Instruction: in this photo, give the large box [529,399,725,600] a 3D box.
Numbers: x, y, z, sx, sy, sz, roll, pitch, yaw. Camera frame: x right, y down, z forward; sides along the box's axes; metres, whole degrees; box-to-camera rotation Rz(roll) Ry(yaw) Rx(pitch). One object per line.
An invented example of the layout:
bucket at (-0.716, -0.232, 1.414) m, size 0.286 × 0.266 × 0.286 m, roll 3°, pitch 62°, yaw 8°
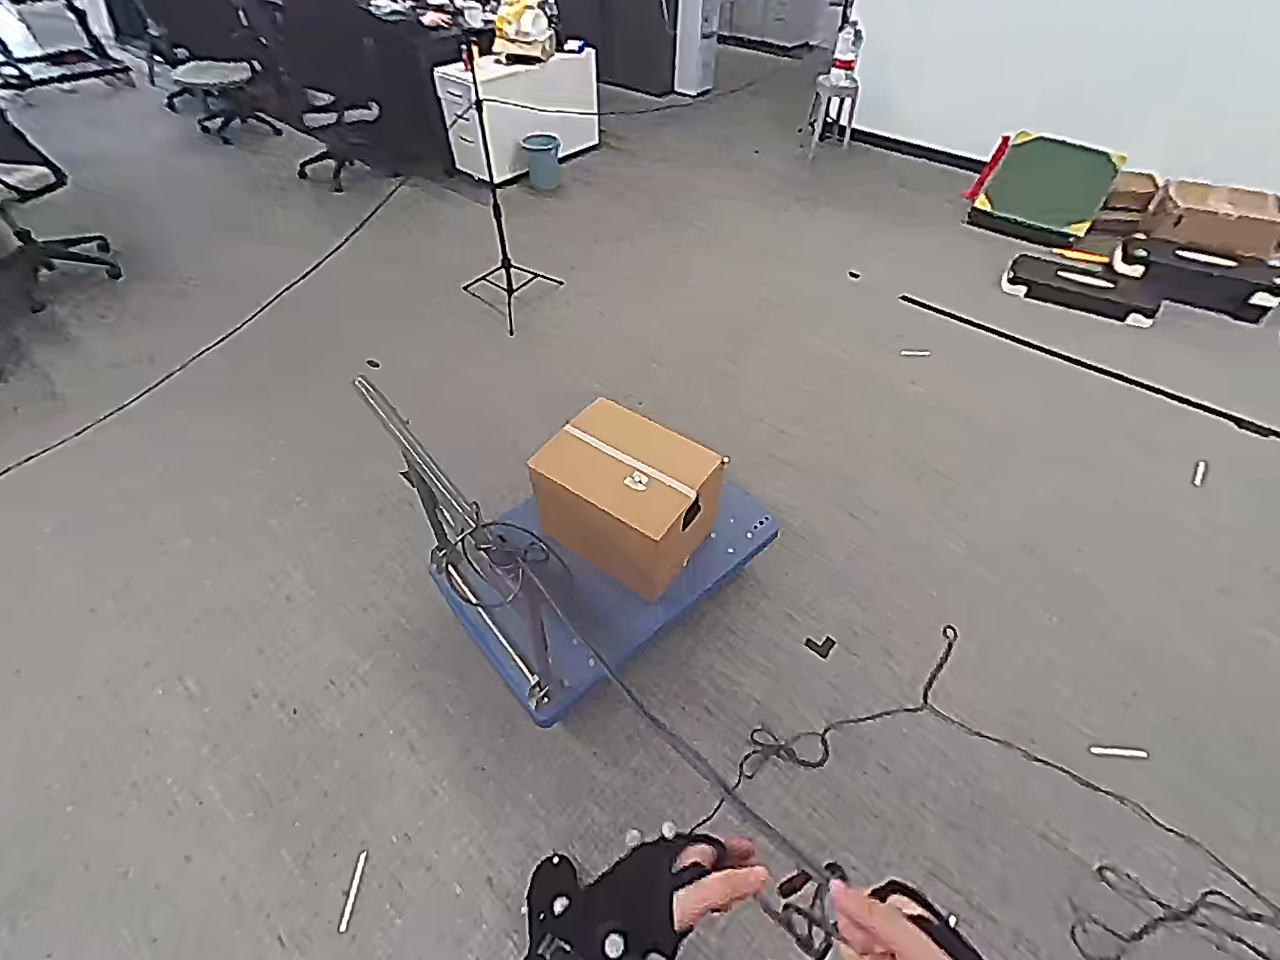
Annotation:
large box at (-0.036, 0.049, 1.465) m, size 0.408 × 0.320 × 0.320 m, roll 29°, pitch 56°, yaw 20°
